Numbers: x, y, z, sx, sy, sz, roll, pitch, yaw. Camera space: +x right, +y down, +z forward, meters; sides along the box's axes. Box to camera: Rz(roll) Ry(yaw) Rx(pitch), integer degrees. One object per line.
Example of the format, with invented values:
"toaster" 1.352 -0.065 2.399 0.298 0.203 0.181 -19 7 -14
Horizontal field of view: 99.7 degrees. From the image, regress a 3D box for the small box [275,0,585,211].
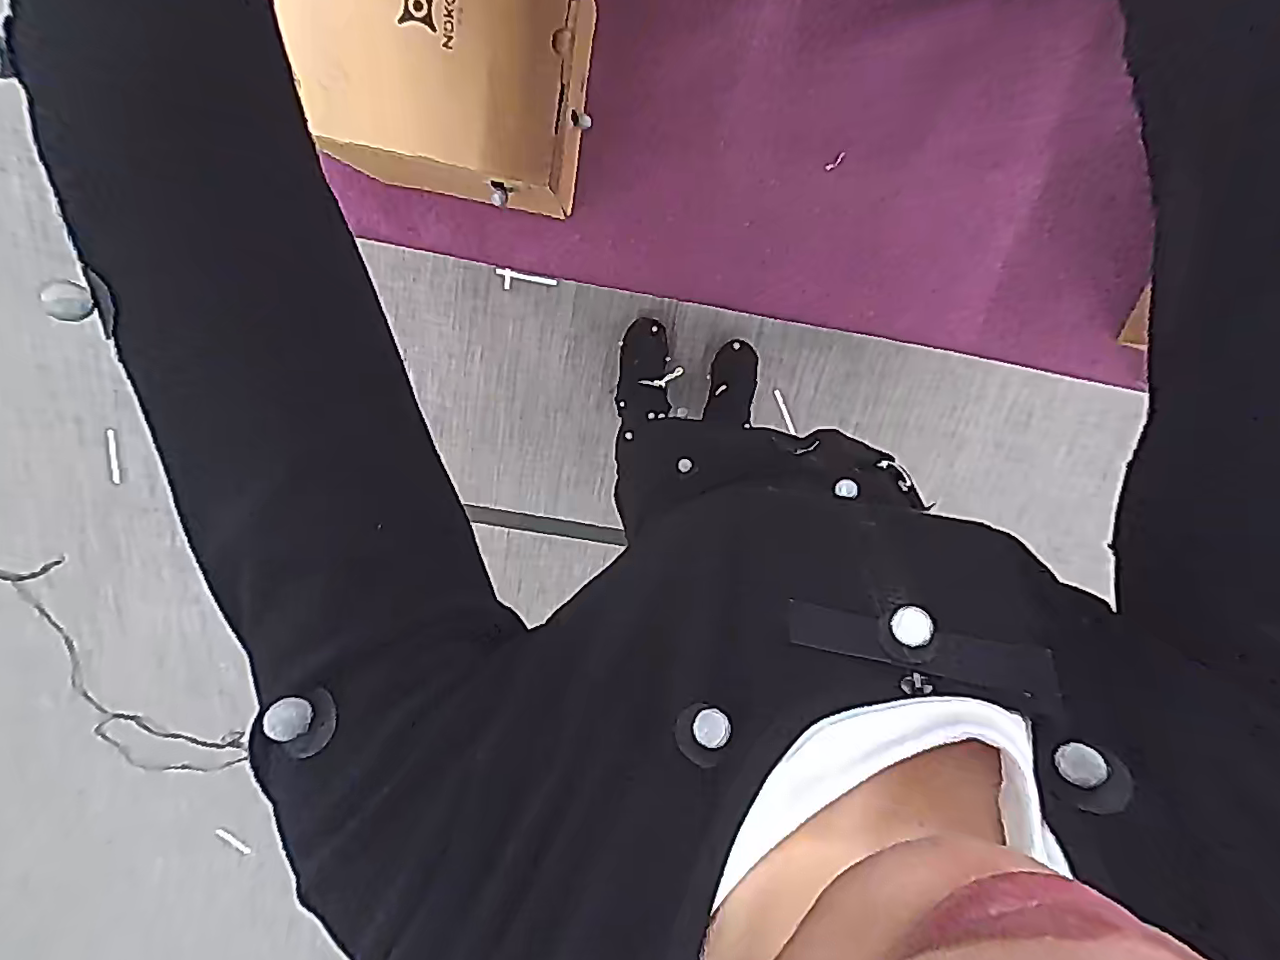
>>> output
"small box" -0.141 -0.316 0.410 0.179 0.176 0.168 8 109 -7
